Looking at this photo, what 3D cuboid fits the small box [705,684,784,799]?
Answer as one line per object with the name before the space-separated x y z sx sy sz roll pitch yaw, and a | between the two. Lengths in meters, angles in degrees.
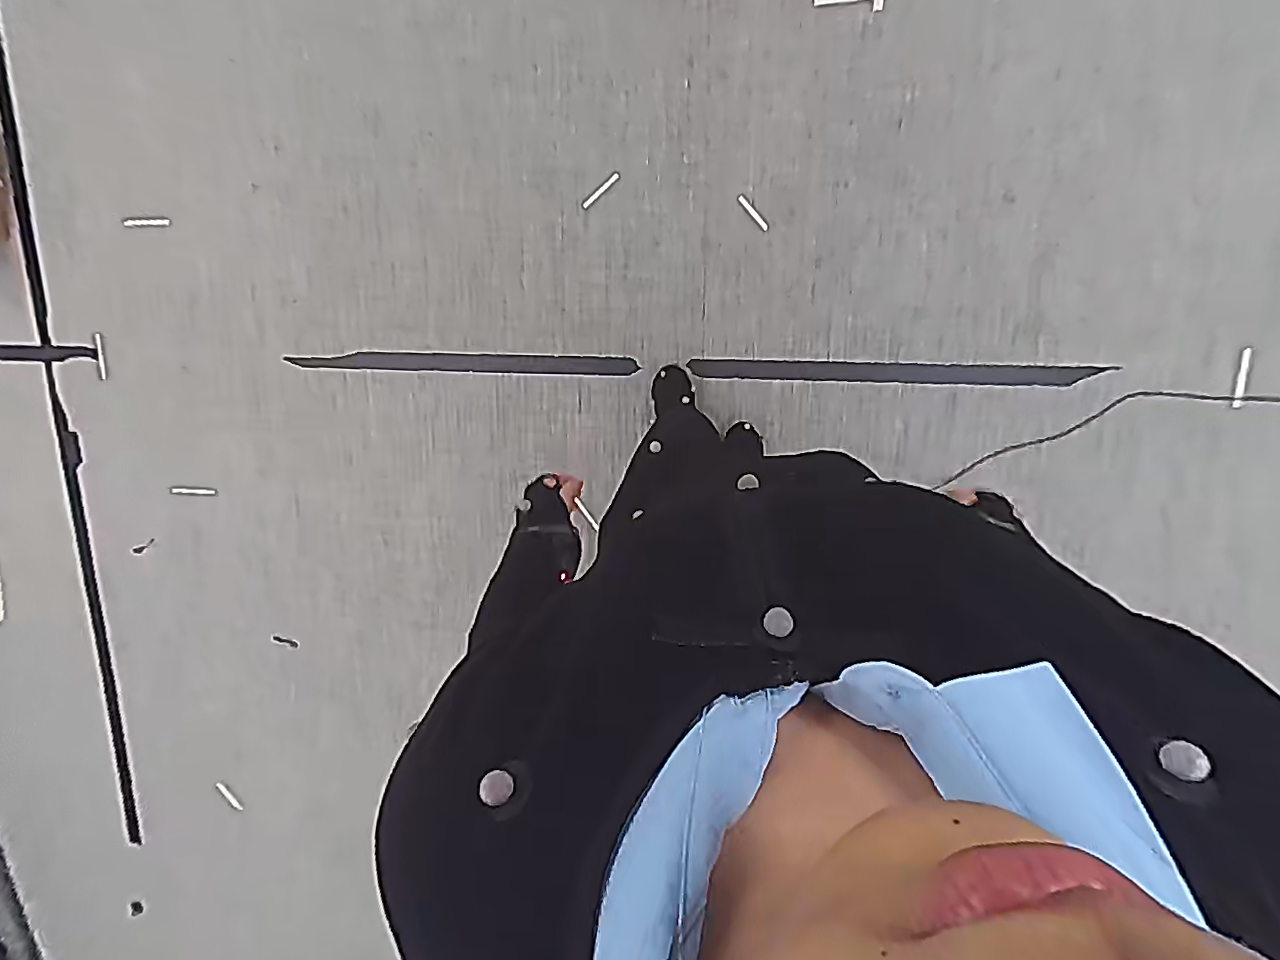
small box | 0.246 0.621 1.300 0.168 0.176 0.179 4 99 6
